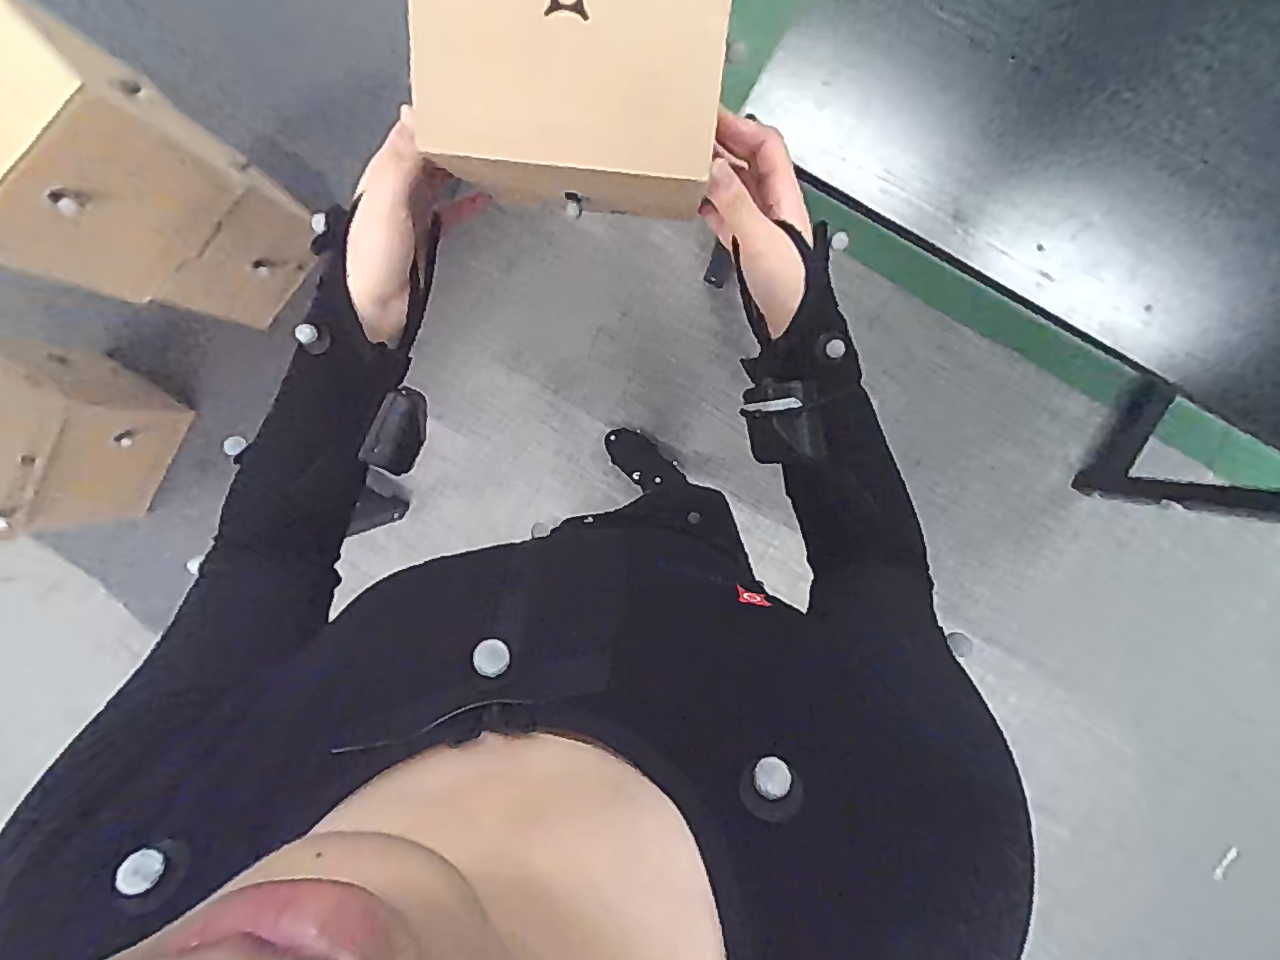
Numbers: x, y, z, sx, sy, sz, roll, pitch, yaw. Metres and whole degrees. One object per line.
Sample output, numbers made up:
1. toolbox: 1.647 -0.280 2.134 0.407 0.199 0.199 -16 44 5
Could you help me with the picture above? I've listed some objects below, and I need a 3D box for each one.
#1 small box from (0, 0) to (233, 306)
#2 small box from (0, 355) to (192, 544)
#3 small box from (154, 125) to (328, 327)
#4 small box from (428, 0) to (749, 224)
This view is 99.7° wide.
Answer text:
1. small box: -0.533 -0.294 0.500 0.179 0.176 0.168 -45 91 6
2. small box: -0.736 -0.045 0.693 0.168 0.176 0.179 30 96 1
3. small box: -0.535 -0.309 0.663 0.179 0.176 0.168 40 95 -1
4. small box: -0.022 -0.274 0.348 0.168 0.176 0.179 7 109 -1
